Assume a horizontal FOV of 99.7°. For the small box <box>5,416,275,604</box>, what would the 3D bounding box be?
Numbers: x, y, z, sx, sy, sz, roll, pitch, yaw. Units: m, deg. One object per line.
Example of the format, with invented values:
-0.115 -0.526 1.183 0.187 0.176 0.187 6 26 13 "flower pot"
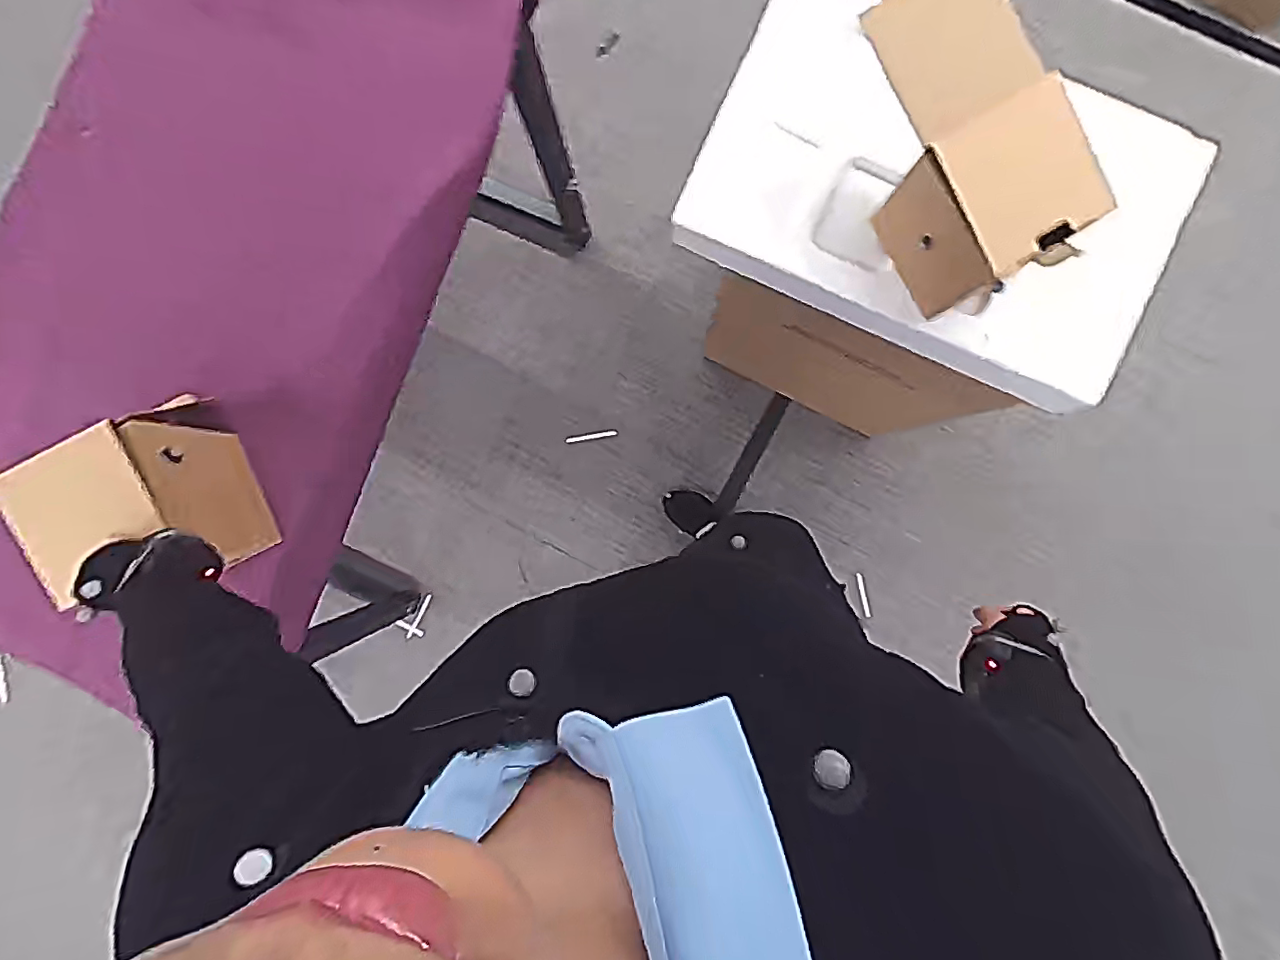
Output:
-0.637 0.039 0.711 0.168 0.176 0.179 -26 87 3 "small box"
